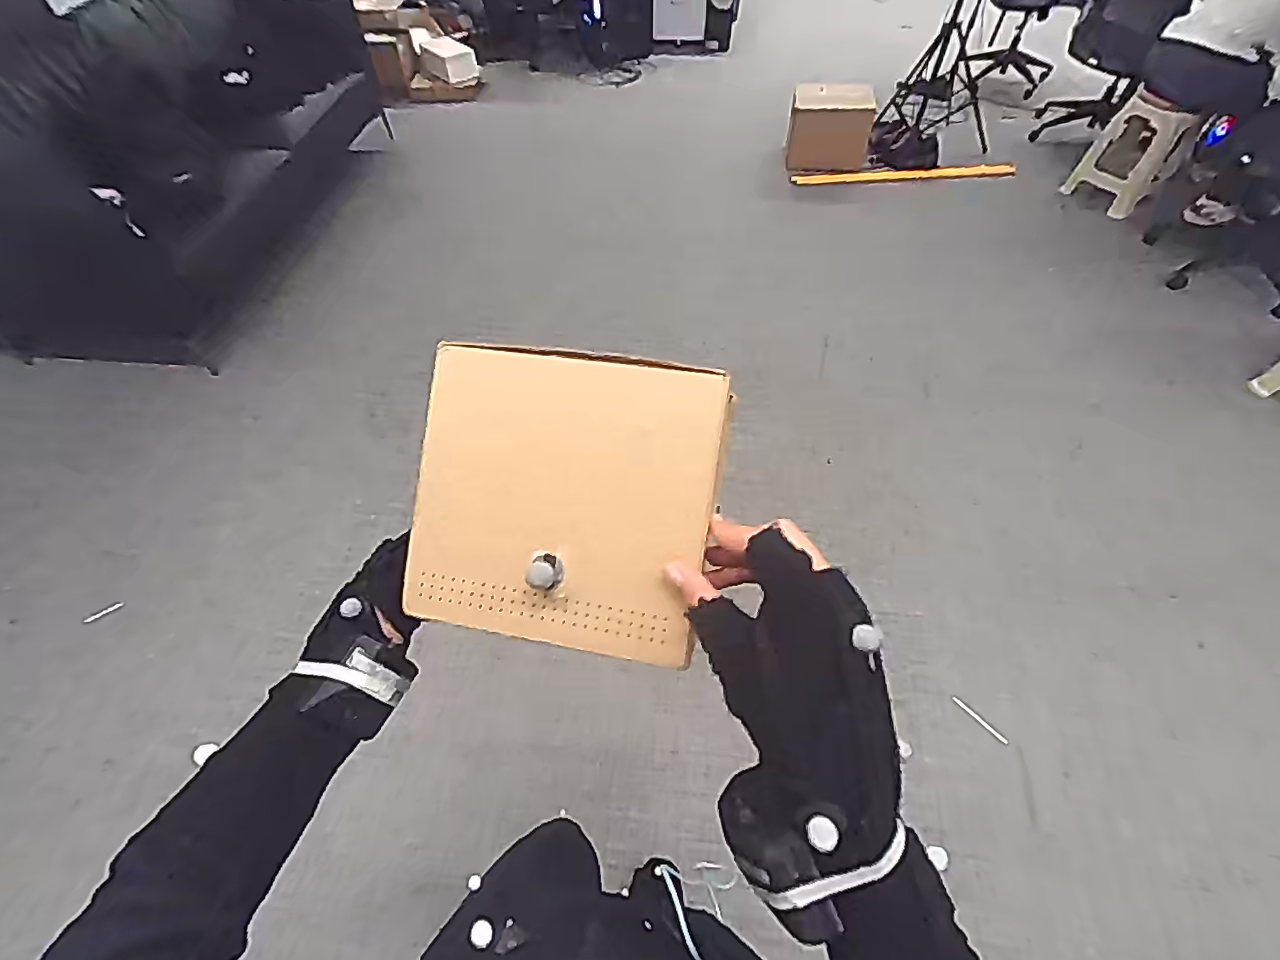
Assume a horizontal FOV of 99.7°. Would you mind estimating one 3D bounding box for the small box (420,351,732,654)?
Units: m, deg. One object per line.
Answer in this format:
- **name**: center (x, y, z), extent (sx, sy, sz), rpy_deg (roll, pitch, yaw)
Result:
- **small box**: center (-0.033, 0.015, 0.397), extent (0.179, 0.168, 0.176), rpy_deg (8, 91, 10)
